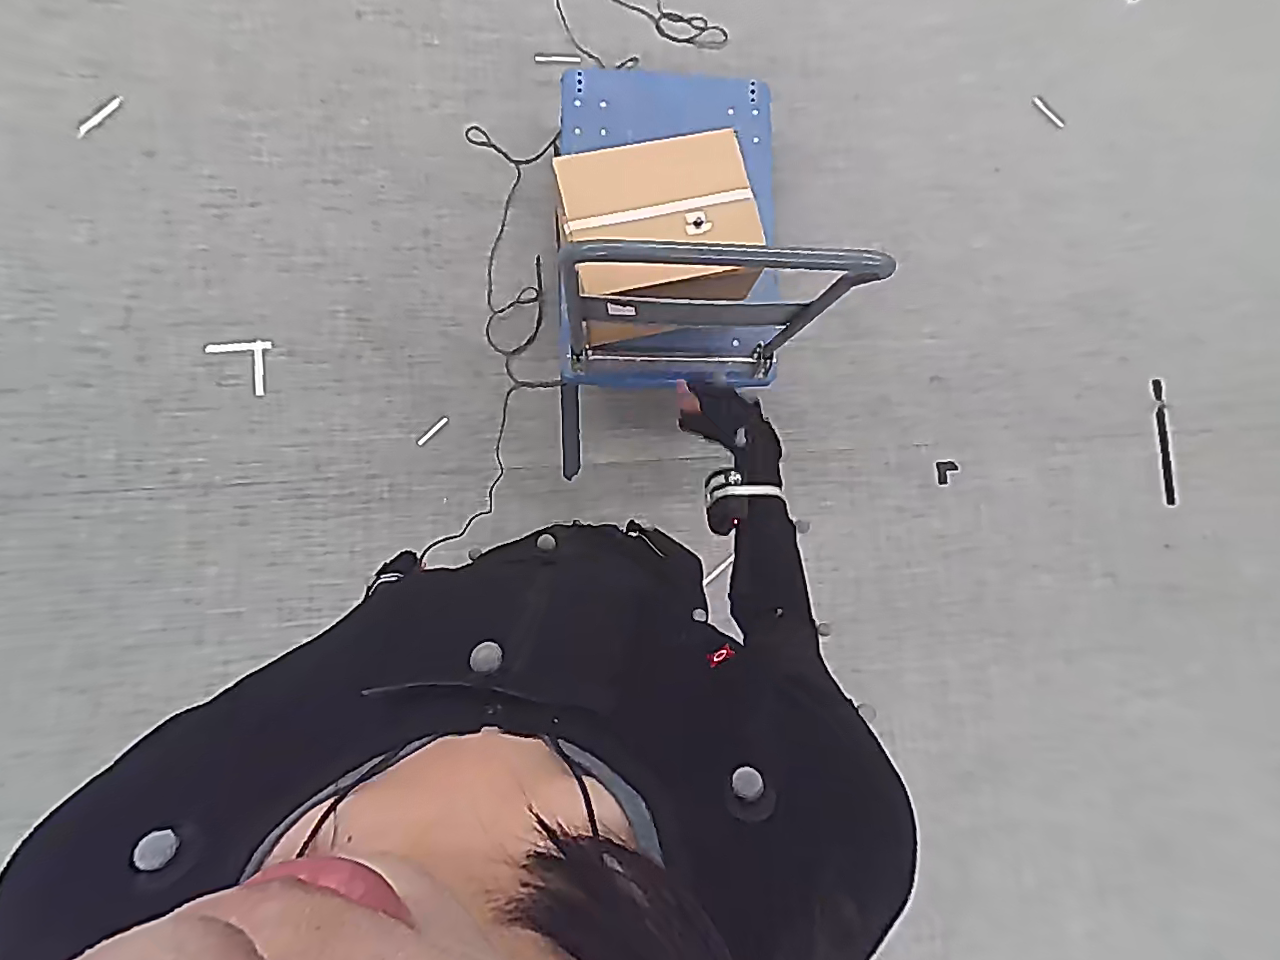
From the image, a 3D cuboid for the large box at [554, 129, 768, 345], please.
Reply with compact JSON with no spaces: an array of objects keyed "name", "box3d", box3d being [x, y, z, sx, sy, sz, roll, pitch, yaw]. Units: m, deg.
[{"name":"large box","box3d":[0.032,-0.555,1.290,0.408,0.320,0.320,-13,86,-7]}]
